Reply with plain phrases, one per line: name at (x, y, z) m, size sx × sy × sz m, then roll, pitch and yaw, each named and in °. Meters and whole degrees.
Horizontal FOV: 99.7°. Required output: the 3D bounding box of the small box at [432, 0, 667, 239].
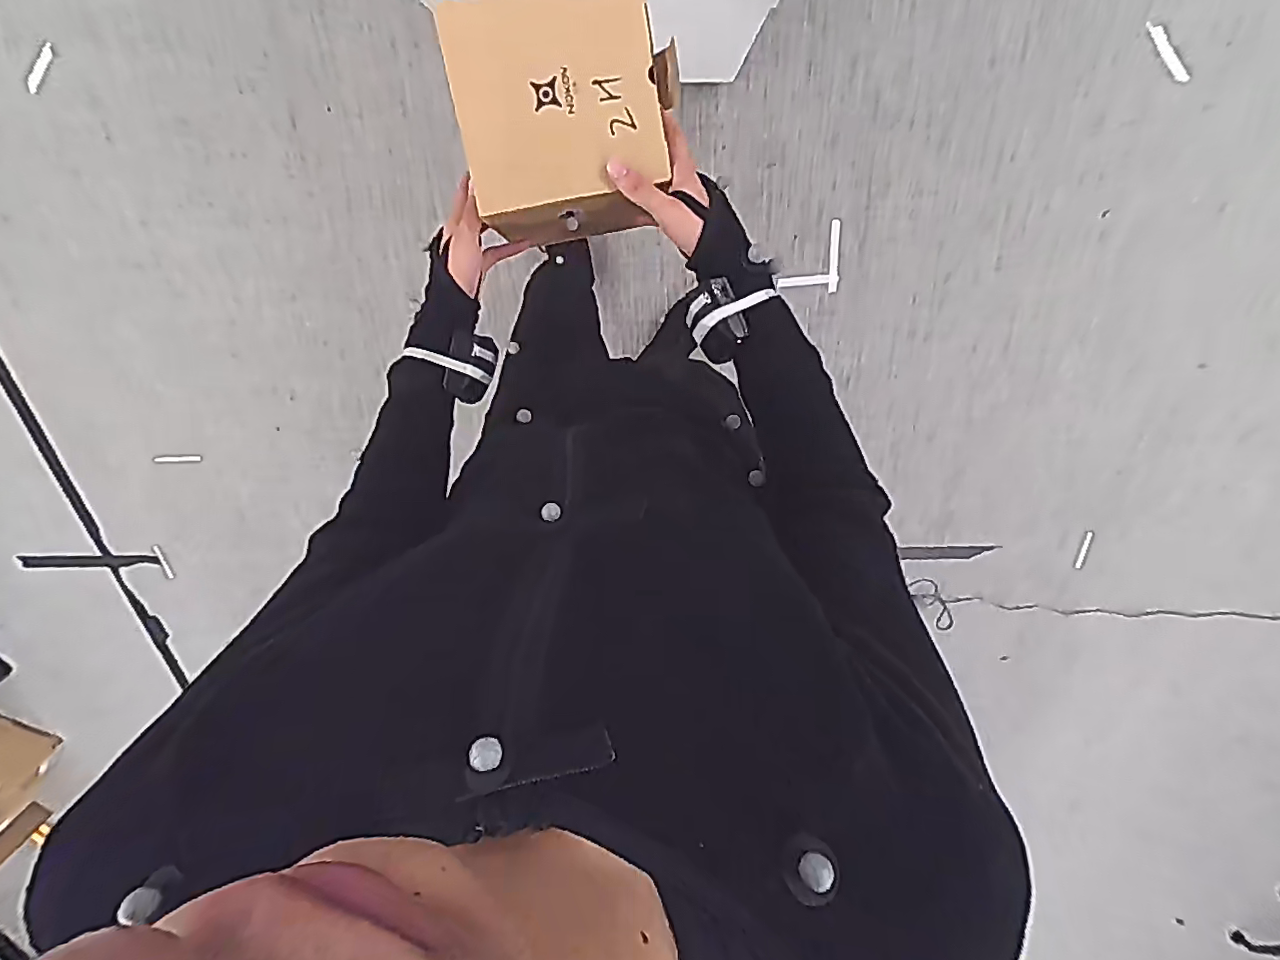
small box at (-0.074, -0.350, 0.534) m, size 0.179 × 0.176 × 0.168 m, roll -10°, pitch 105°, yaw 1°
